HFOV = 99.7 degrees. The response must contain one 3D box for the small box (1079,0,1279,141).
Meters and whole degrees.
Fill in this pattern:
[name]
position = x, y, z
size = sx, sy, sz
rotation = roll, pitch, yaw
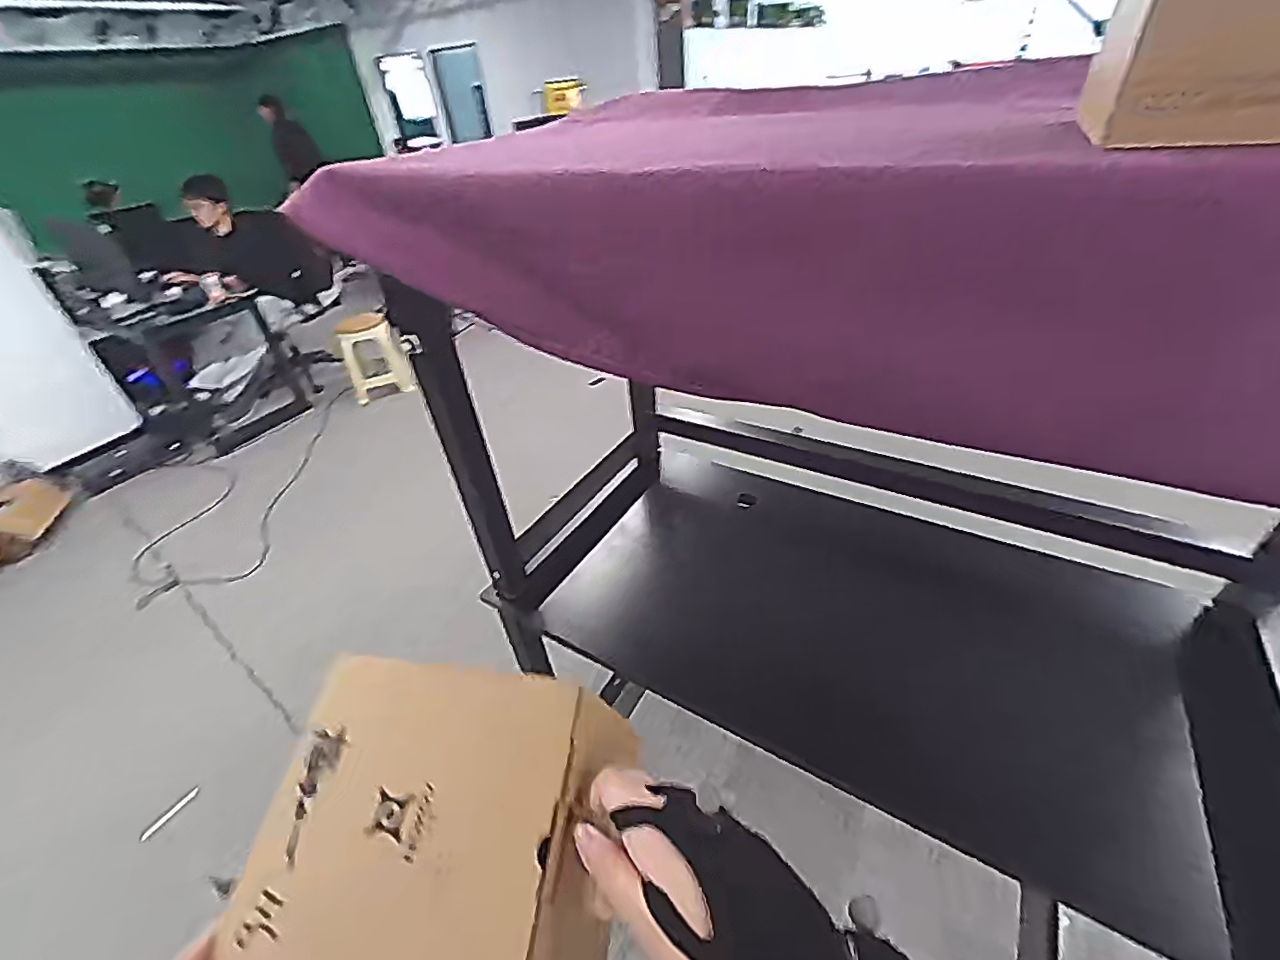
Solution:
[small box]
position = 0.386, -0.297, 0.307
size = 0.168, 0.176, 0.179
rotation = 14, 40, 24
